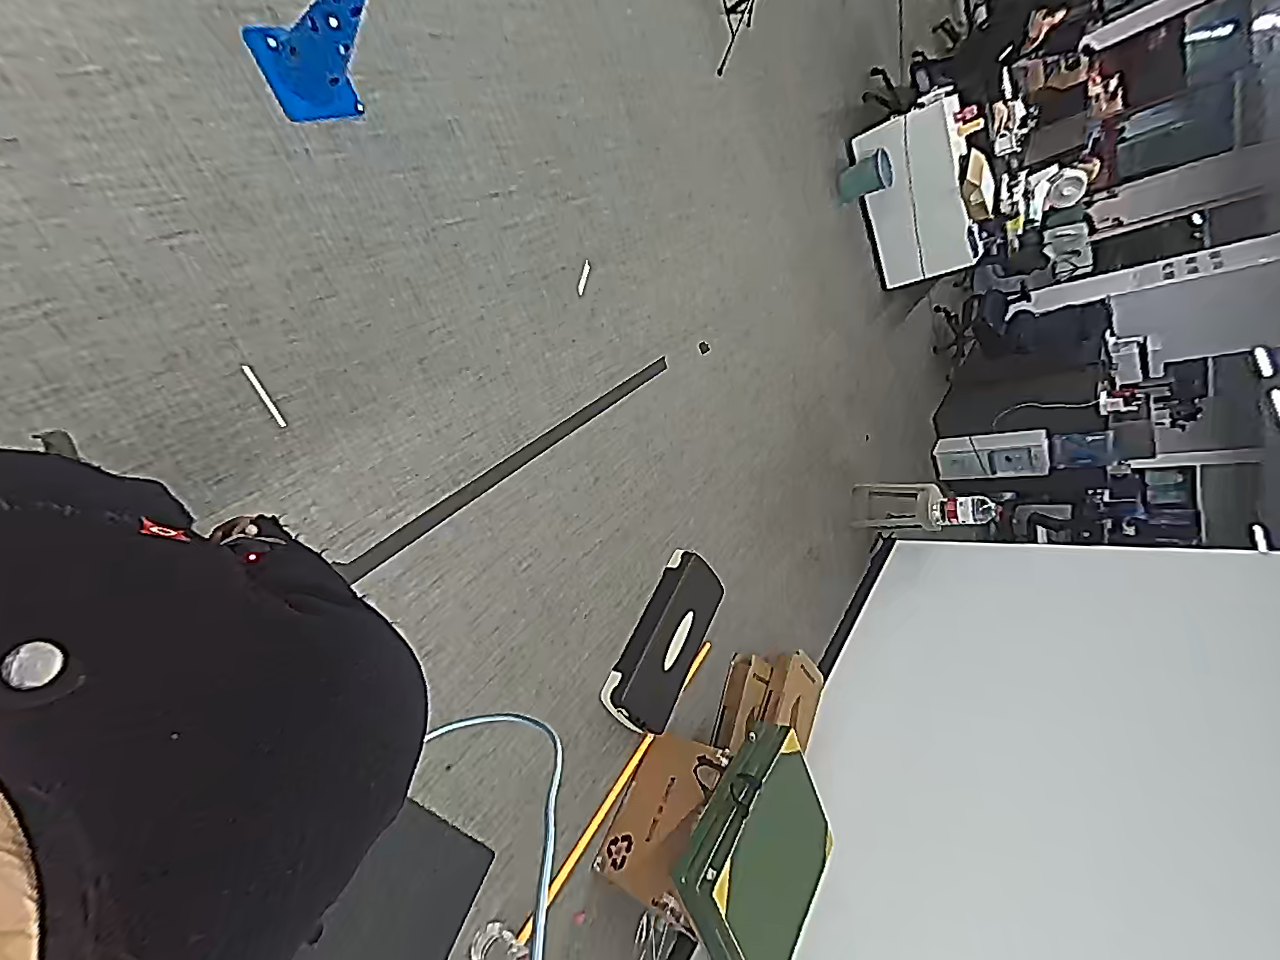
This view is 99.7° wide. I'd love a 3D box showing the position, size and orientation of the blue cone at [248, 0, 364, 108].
[{"bbox_3d":[-0.676,-0.997,1.172,0.192,0.380,0.193,-40,115,-41],"label":"blue cone"}]
